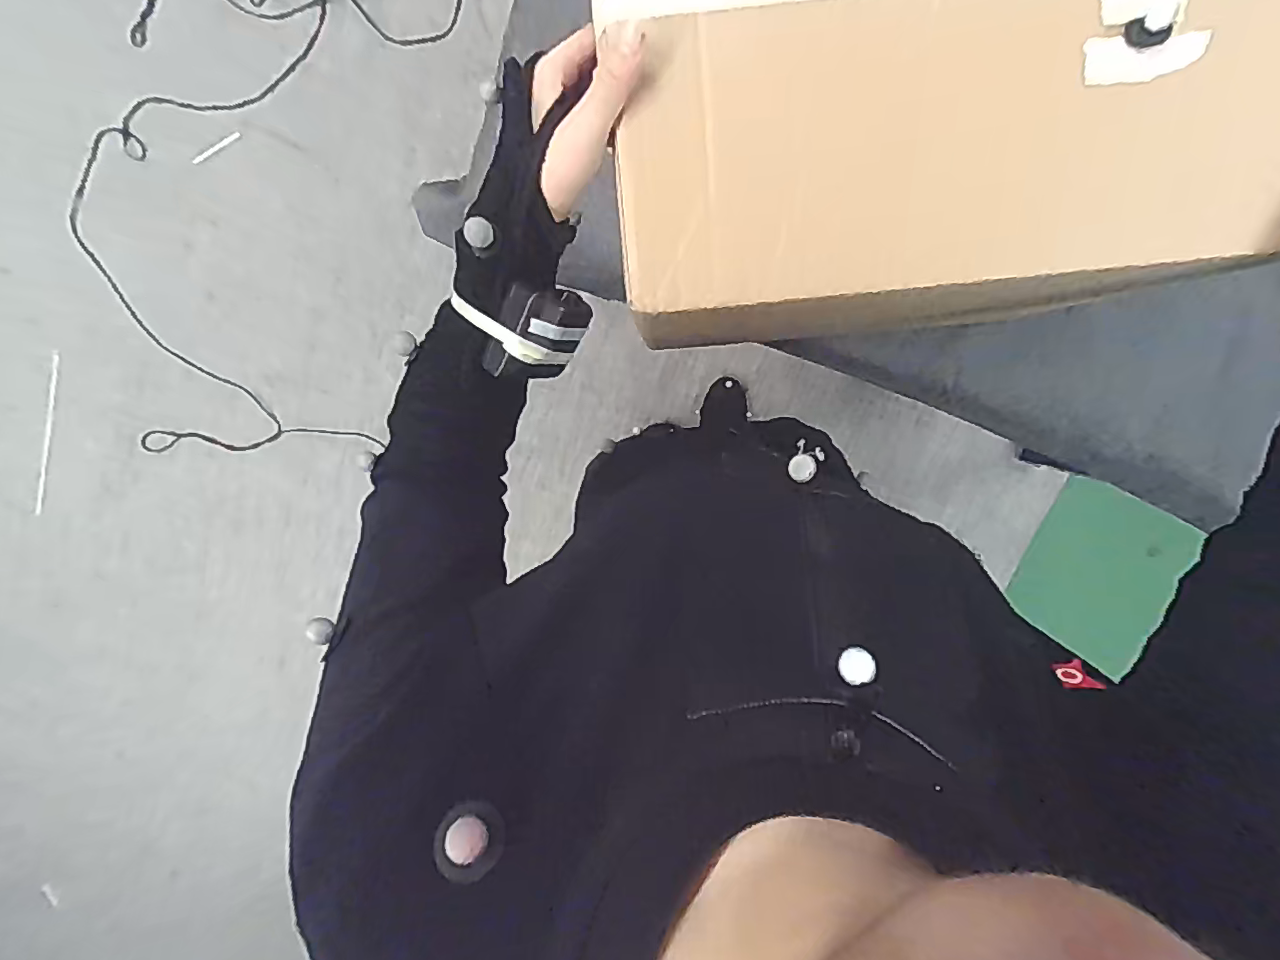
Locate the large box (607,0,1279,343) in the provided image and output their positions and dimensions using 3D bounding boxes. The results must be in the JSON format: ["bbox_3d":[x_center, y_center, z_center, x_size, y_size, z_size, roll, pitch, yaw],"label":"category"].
[{"bbox_3d":[0.186,-0.298,0.429,0.408,0.320,0.320,-5,100,2],"label":"large box"}]
